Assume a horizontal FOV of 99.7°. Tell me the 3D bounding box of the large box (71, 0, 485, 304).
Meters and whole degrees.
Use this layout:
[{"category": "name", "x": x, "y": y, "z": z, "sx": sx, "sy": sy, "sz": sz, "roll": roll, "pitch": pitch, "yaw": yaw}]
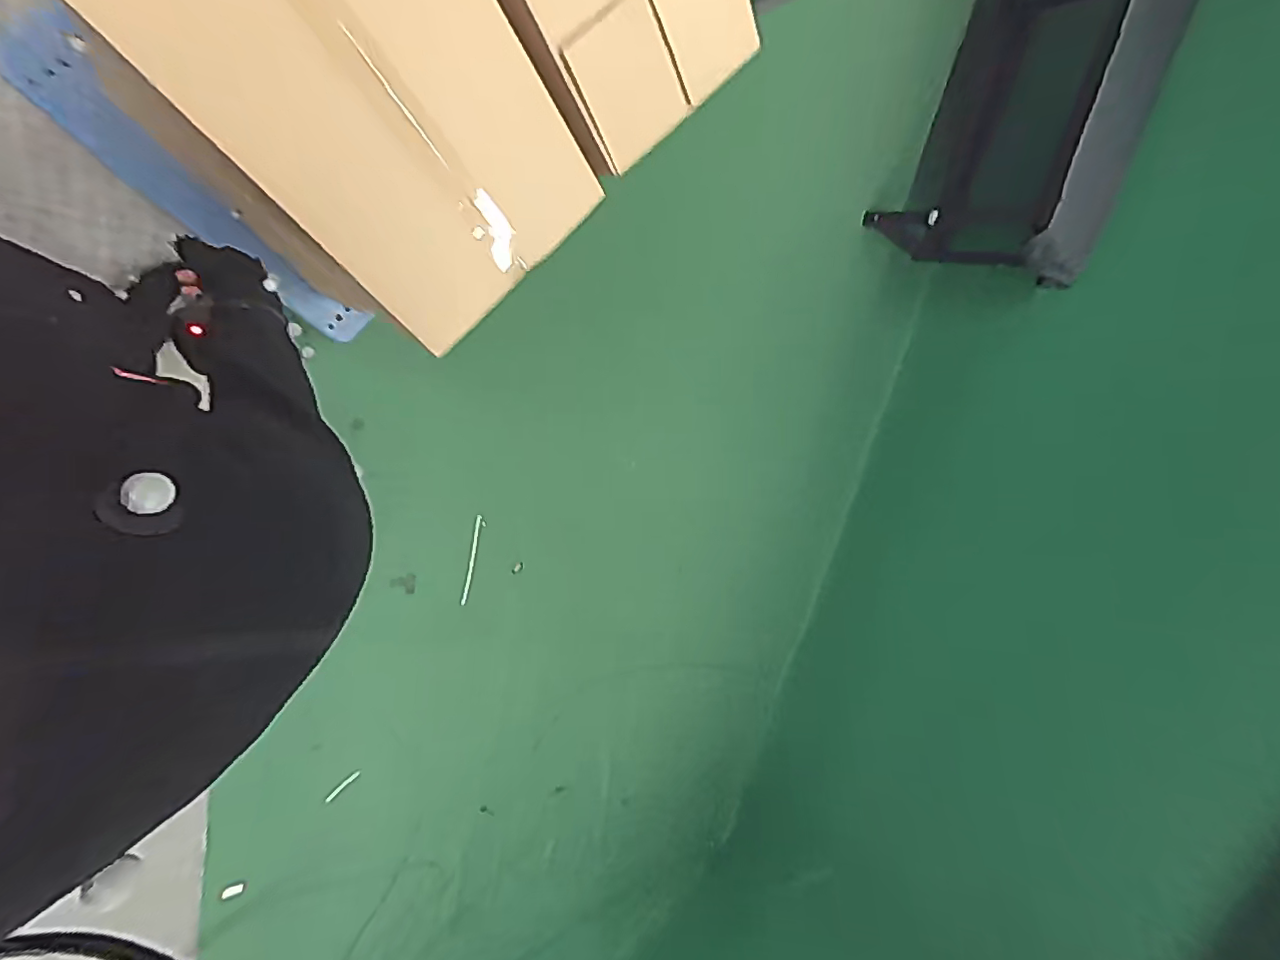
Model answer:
[{"category": "large box", "x": -0.543, "y": -0.551, "z": 0.870, "sx": 0.320, "sy": 0.320, "sz": 0.408, "roll": -52, "pitch": 135, "yaw": -13}]
